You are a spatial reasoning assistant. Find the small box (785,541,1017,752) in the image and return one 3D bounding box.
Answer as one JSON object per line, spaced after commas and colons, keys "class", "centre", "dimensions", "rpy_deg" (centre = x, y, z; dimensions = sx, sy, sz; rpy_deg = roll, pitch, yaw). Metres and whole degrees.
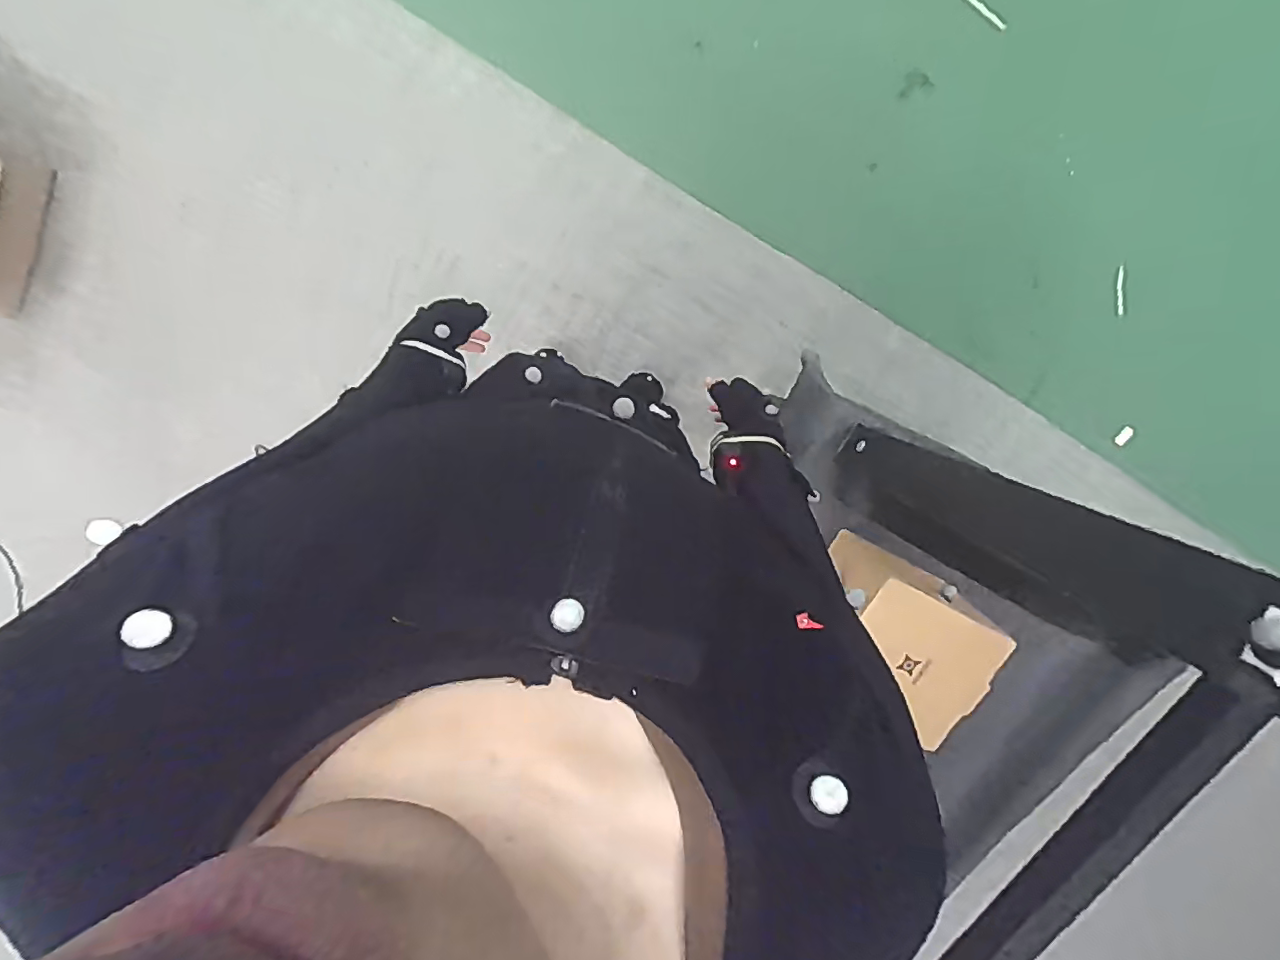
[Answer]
{"class": "small box", "centre": [0.312, 0.196, 0.692], "dimensions": [0.179, 0.176, 0.168], "rpy_deg": [28, 102, -5]}
